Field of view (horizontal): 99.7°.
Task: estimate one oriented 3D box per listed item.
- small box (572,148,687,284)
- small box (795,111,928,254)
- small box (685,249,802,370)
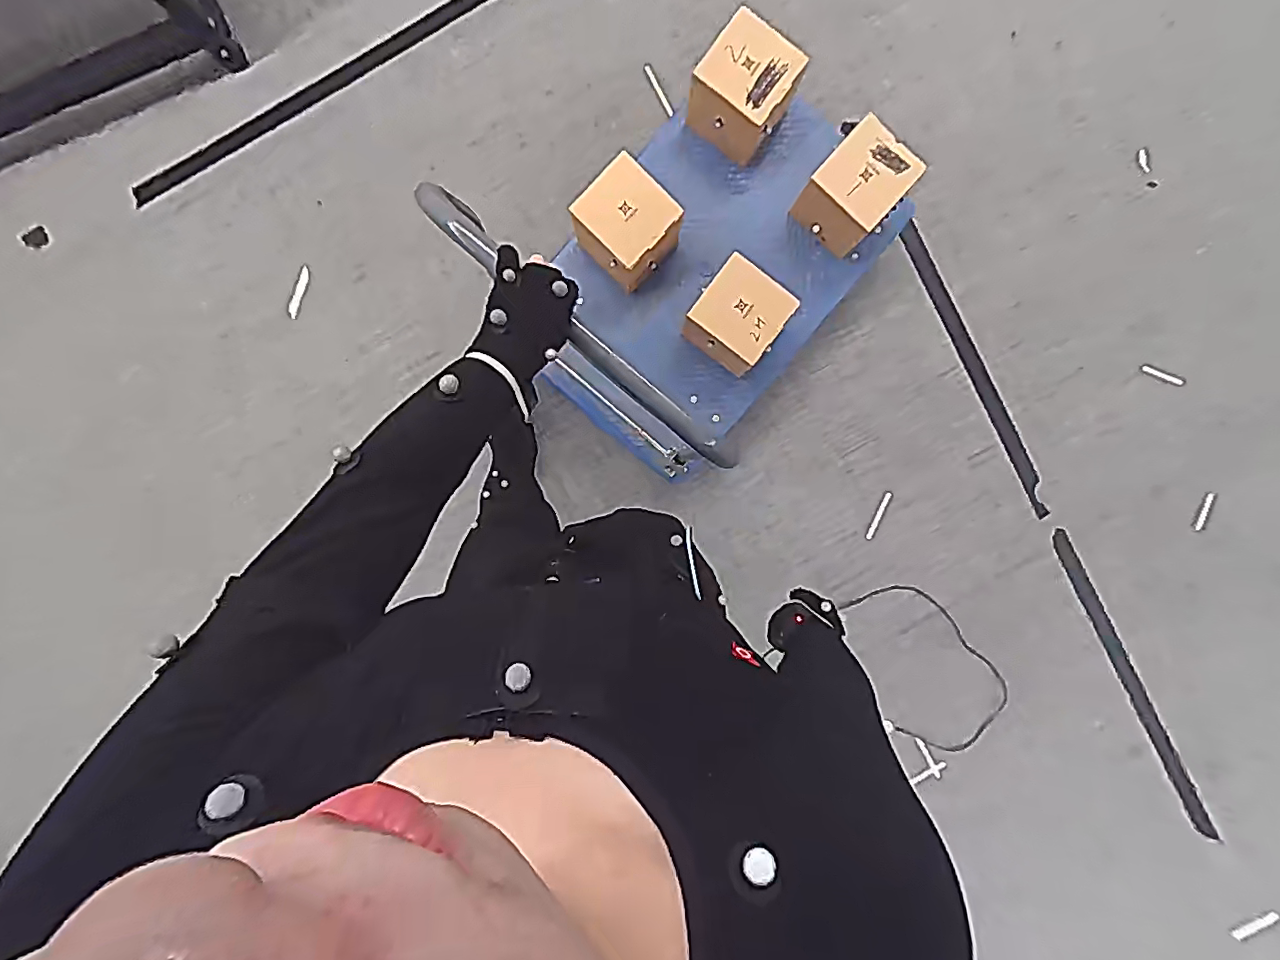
[{"bbox_3d":[-0.025,-0.557,1.170,0.179,0.176,0.168,44,92,-5],"label":"small box"},{"bbox_3d":[0.466,-0.629,1.169,0.168,0.176,0.179,42,93,-3],"label":"small box"},{"bbox_3d":[0.214,-0.360,1.183,0.179,0.176,0.168,38,93,-2],"label":"small box"}]
